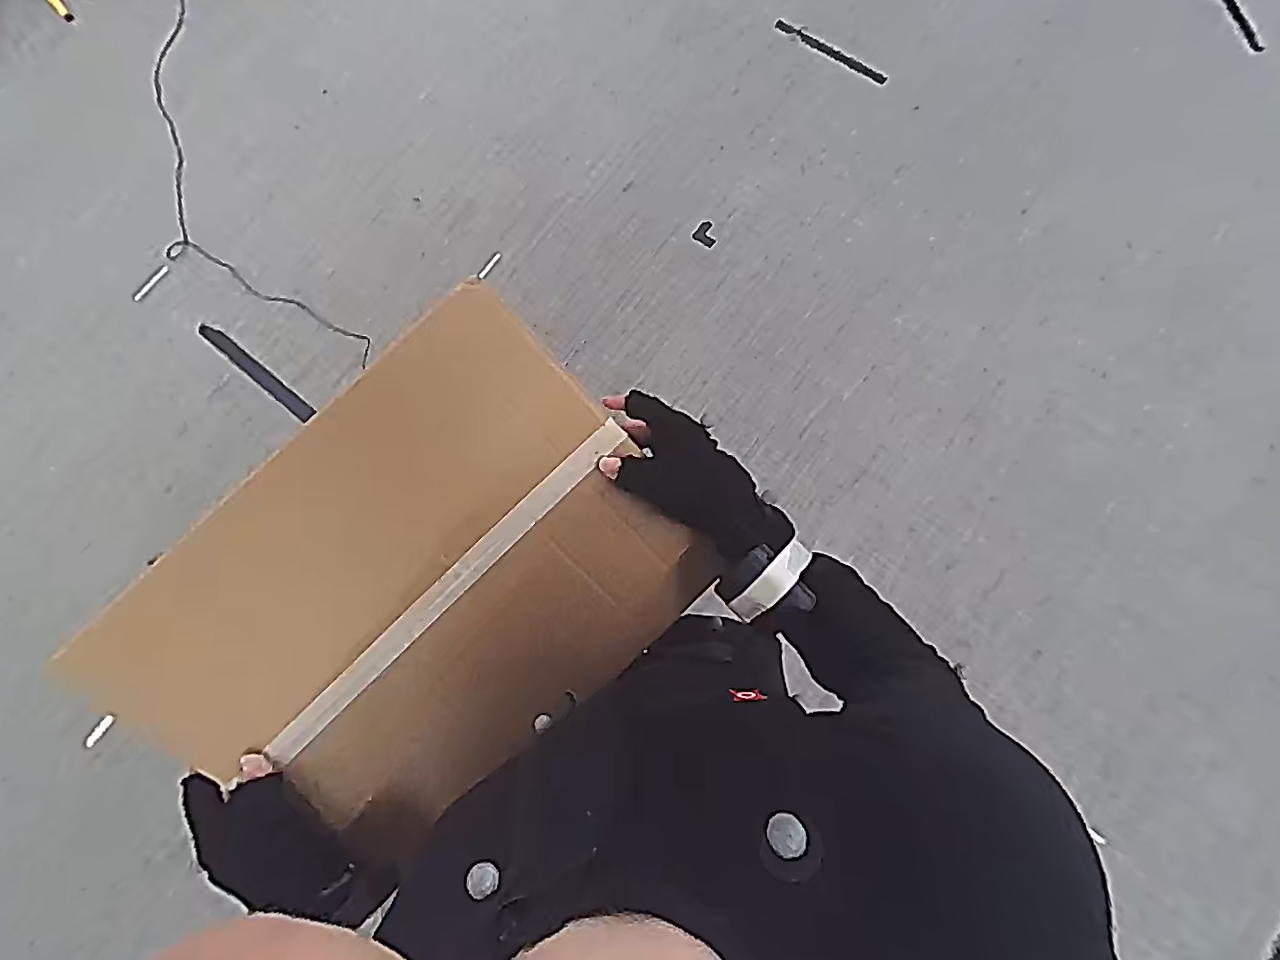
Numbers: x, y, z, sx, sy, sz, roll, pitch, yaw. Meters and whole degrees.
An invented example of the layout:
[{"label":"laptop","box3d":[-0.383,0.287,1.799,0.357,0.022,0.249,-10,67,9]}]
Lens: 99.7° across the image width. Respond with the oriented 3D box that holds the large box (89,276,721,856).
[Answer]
[{"label":"large box","box3d":[-0.197,0.064,0.582,0.408,0.320,0.320,-44,107,-2]}]
